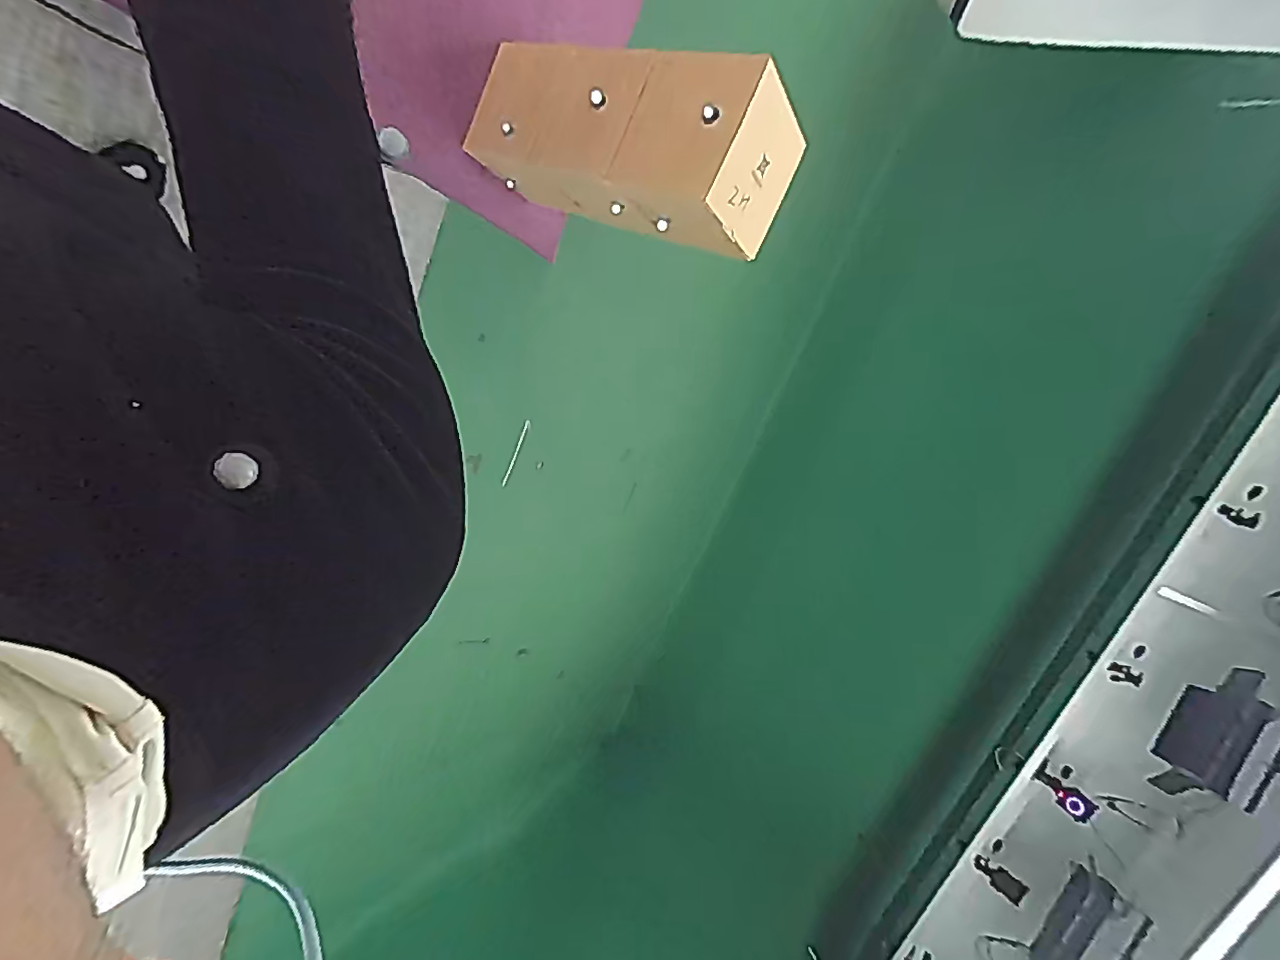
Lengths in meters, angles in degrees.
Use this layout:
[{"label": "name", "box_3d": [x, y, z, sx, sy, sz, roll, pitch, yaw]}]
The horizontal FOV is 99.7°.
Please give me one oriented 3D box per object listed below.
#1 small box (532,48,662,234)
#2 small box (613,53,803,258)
[{"label": "small box", "box_3d": [-0.034, -0.509, 0.818, 0.168, 0.176, 0.179, 11, 106, -58]}, {"label": "small box", "box_3d": [0.090, -0.439, 0.736, 0.168, 0.176, 0.179, 12, 106, -58]}]
